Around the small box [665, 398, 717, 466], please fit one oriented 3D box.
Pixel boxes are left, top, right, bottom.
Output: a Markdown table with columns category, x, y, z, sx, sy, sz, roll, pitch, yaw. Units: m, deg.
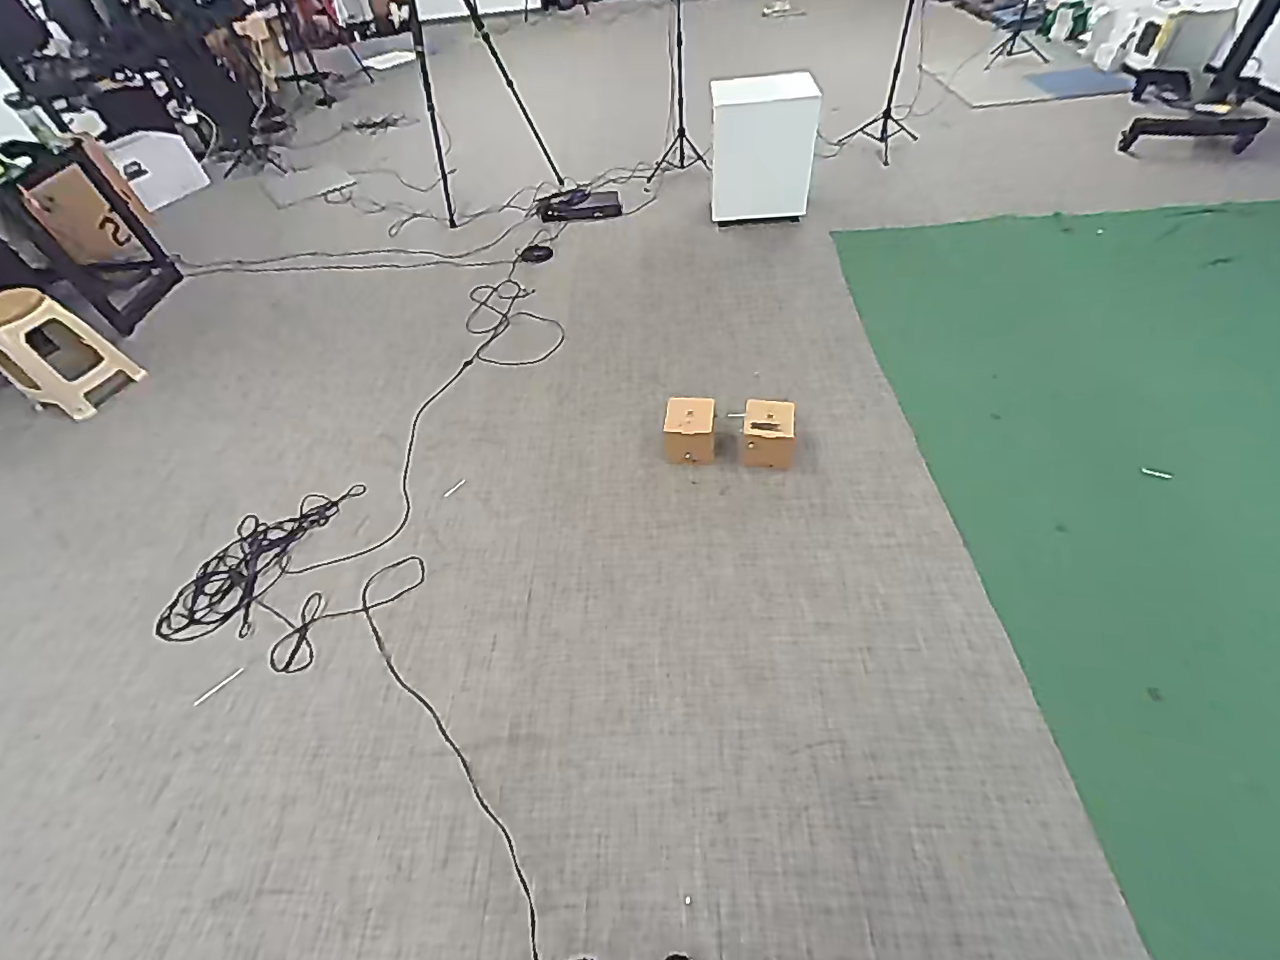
| category | x | y | z | sx | sy | sz | roll | pitch | yaw |
| --- | --- | --- | --- | --- | --- | --- | --- | --- | --- |
| small box | 0.185 | -0.173 | 1.944 | 0.168 | 0.176 | 0.179 | 3 | 51 | 10 |
